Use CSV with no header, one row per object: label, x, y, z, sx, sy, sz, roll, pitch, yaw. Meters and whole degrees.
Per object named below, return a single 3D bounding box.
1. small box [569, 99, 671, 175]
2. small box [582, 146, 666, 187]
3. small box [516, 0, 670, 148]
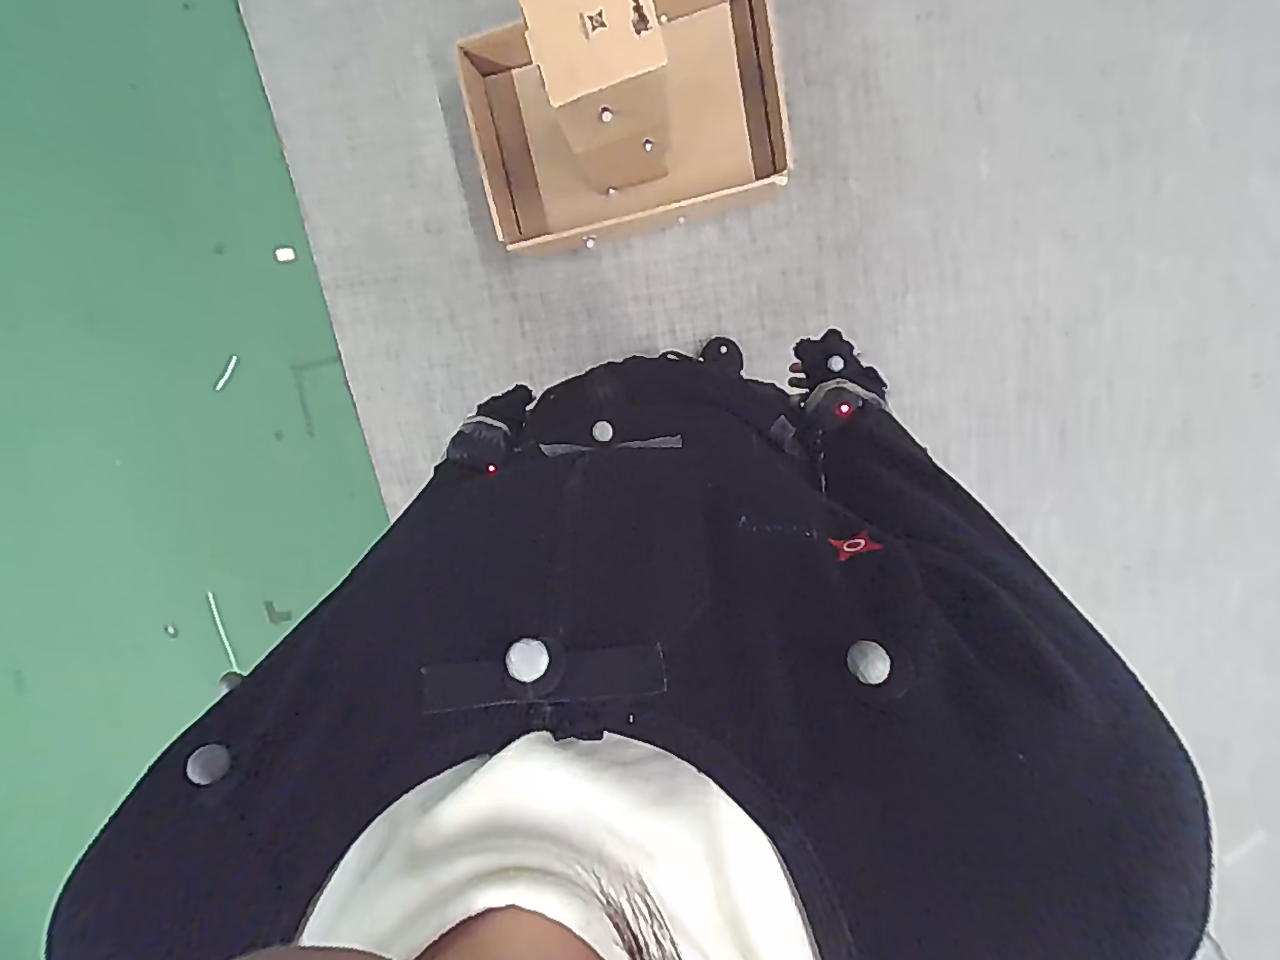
small box,-0.050,-0.677,0.962,0.179,0.176,0.168,-17,101,8
small box,-0.043,-0.735,1.131,0.168,0.176,0.179,-11,102,8
small box,-0.061,-0.645,0.821,0.179,0.176,0.168,-18,99,8
